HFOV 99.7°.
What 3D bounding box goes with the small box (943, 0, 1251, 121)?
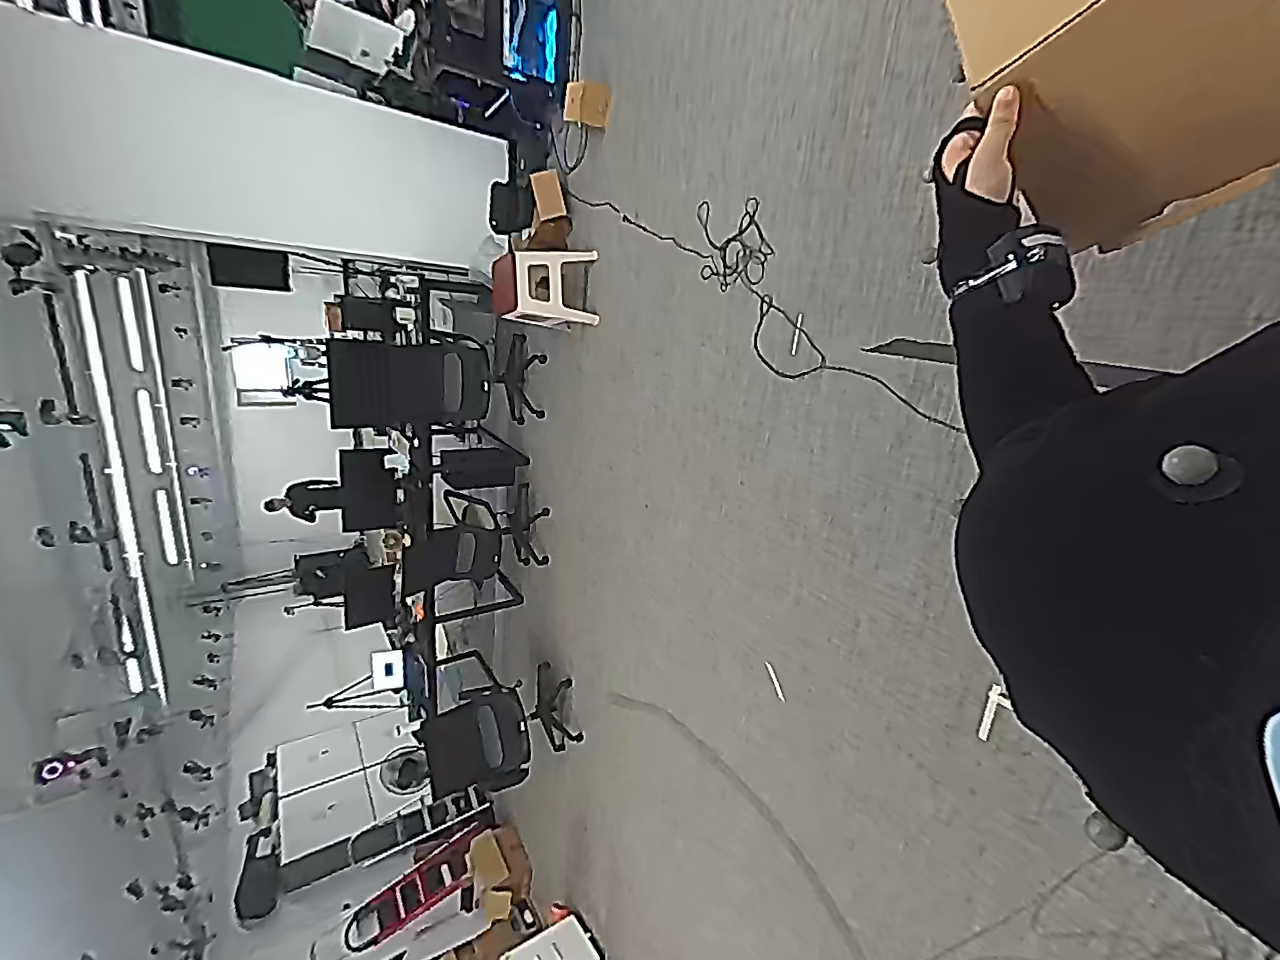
[{"bbox_3d":[0.371,-0.440,0.451,0.168,0.176,0.179,-18,81,51],"label":"small box"}]
